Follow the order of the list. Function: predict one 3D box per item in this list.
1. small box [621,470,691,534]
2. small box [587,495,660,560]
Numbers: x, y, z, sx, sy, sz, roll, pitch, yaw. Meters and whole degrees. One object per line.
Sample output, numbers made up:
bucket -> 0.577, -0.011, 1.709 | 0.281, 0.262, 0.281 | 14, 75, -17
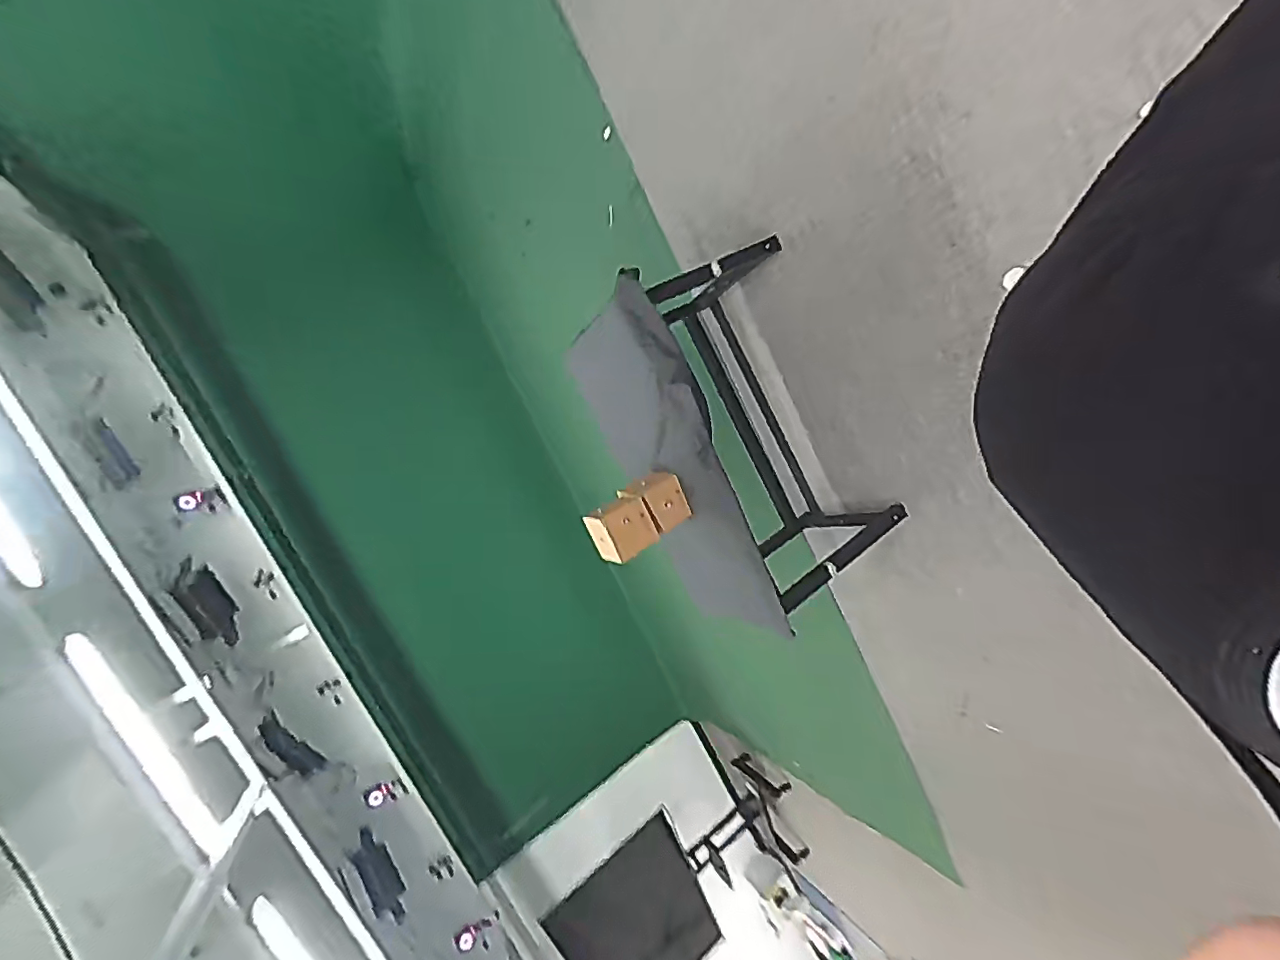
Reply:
small box -> 0.064, 0.074, 1.959 | 0.179, 0.176, 0.168 | 8, 125, 61
small box -> -0.052, 0.158, 1.877 | 0.179, 0.176, 0.168 | -2, 115, 65
